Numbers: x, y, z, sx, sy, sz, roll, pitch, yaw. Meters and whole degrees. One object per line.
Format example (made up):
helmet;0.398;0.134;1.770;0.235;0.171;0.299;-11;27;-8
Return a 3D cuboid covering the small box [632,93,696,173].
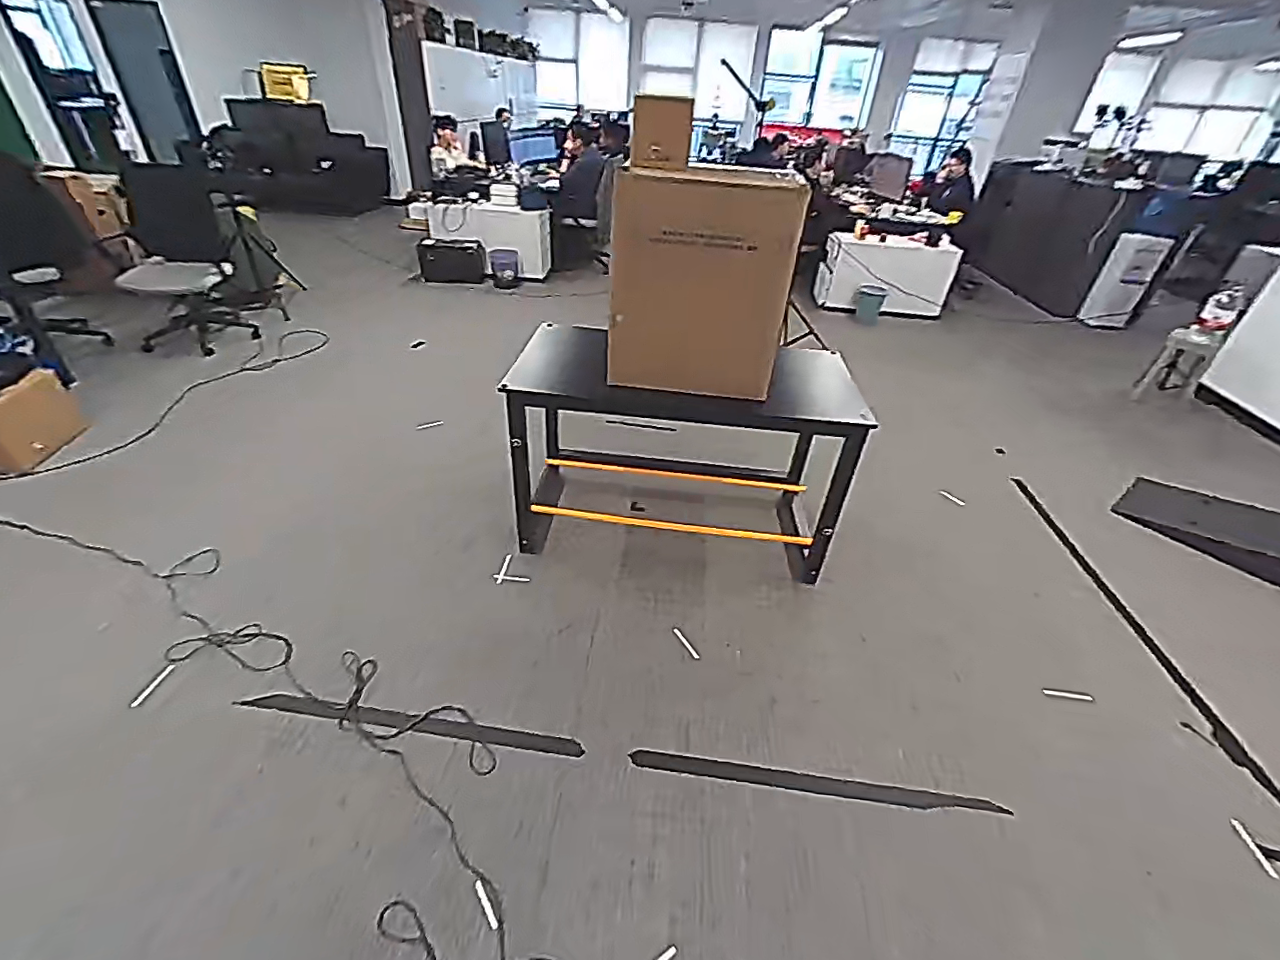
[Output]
small box;0.063;-0.979;1.525;0.168;0.176;0.179;2;38;-2
